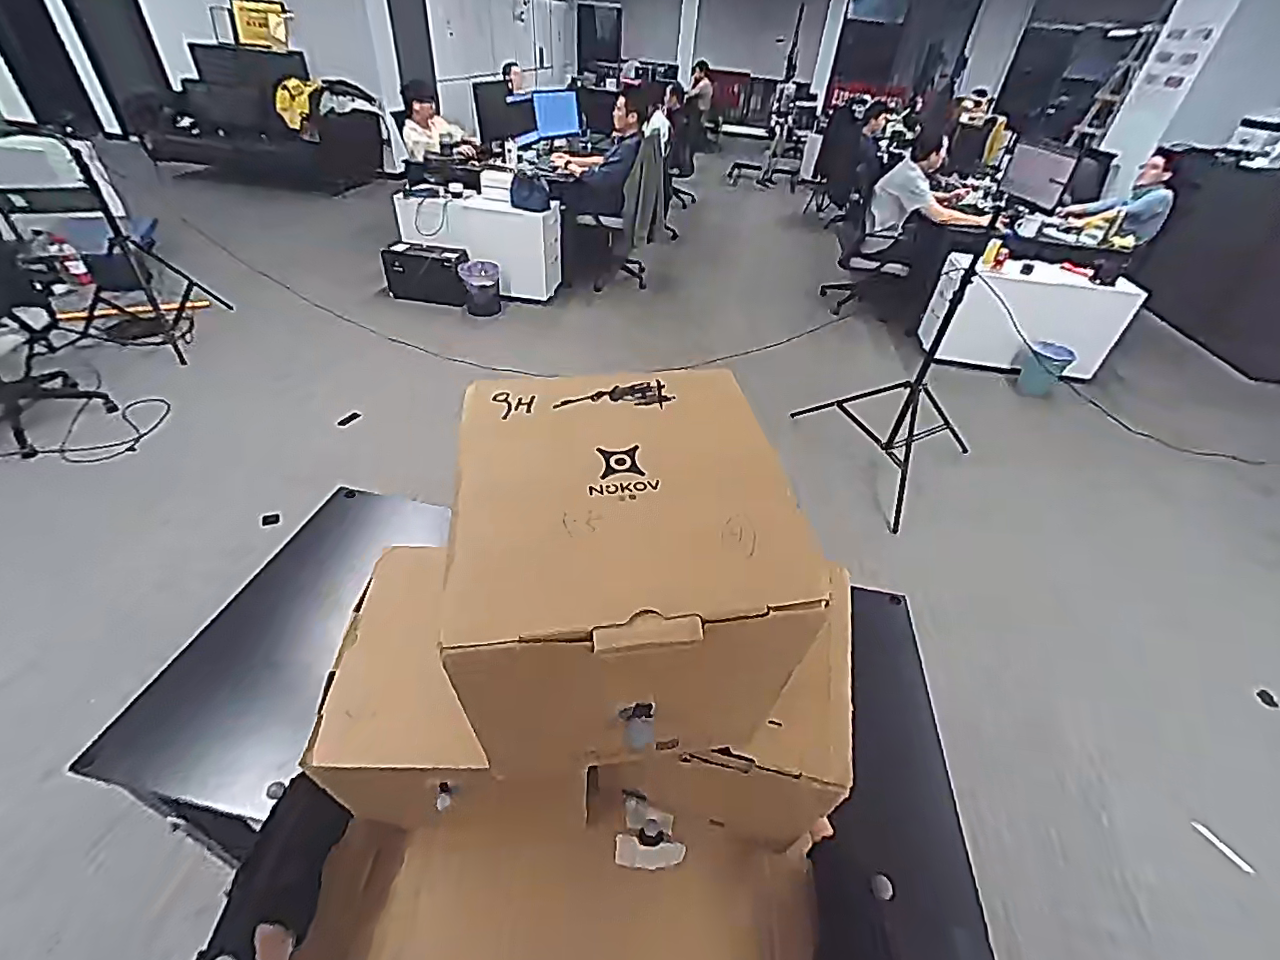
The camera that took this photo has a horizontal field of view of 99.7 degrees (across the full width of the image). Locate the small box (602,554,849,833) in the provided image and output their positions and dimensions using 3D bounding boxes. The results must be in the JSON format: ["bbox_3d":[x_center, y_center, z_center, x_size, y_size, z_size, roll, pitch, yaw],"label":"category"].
[{"bbox_3d":[0.069,0.167,0.461,0.168,0.176,0.179,13,44,9],"label":"small box"}]

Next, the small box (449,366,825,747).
[{"bbox_3d":[-0.012,0.050,0.340,0.168,0.176,0.179,-4,46,-8],"label":"small box"}]
